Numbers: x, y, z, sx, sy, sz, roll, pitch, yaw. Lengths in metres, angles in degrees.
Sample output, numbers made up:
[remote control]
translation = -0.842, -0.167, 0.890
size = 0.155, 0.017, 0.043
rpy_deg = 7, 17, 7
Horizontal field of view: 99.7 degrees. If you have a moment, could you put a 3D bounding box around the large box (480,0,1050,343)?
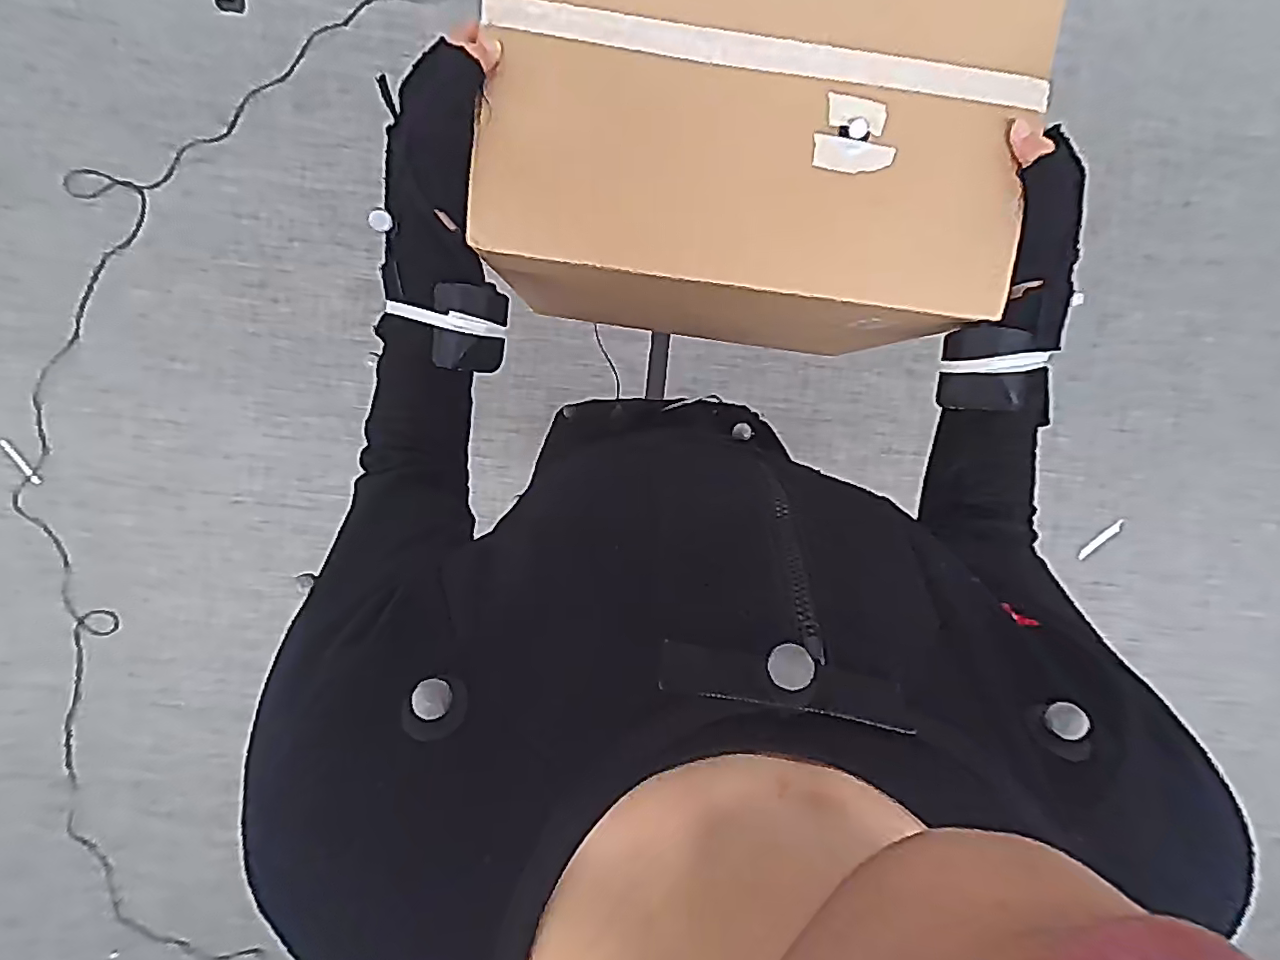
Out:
[large box]
translation = 0.084, -0.328, 0.538
size = 0.408, 0.320, 0.320
rpy_deg = 7, 99, -4
